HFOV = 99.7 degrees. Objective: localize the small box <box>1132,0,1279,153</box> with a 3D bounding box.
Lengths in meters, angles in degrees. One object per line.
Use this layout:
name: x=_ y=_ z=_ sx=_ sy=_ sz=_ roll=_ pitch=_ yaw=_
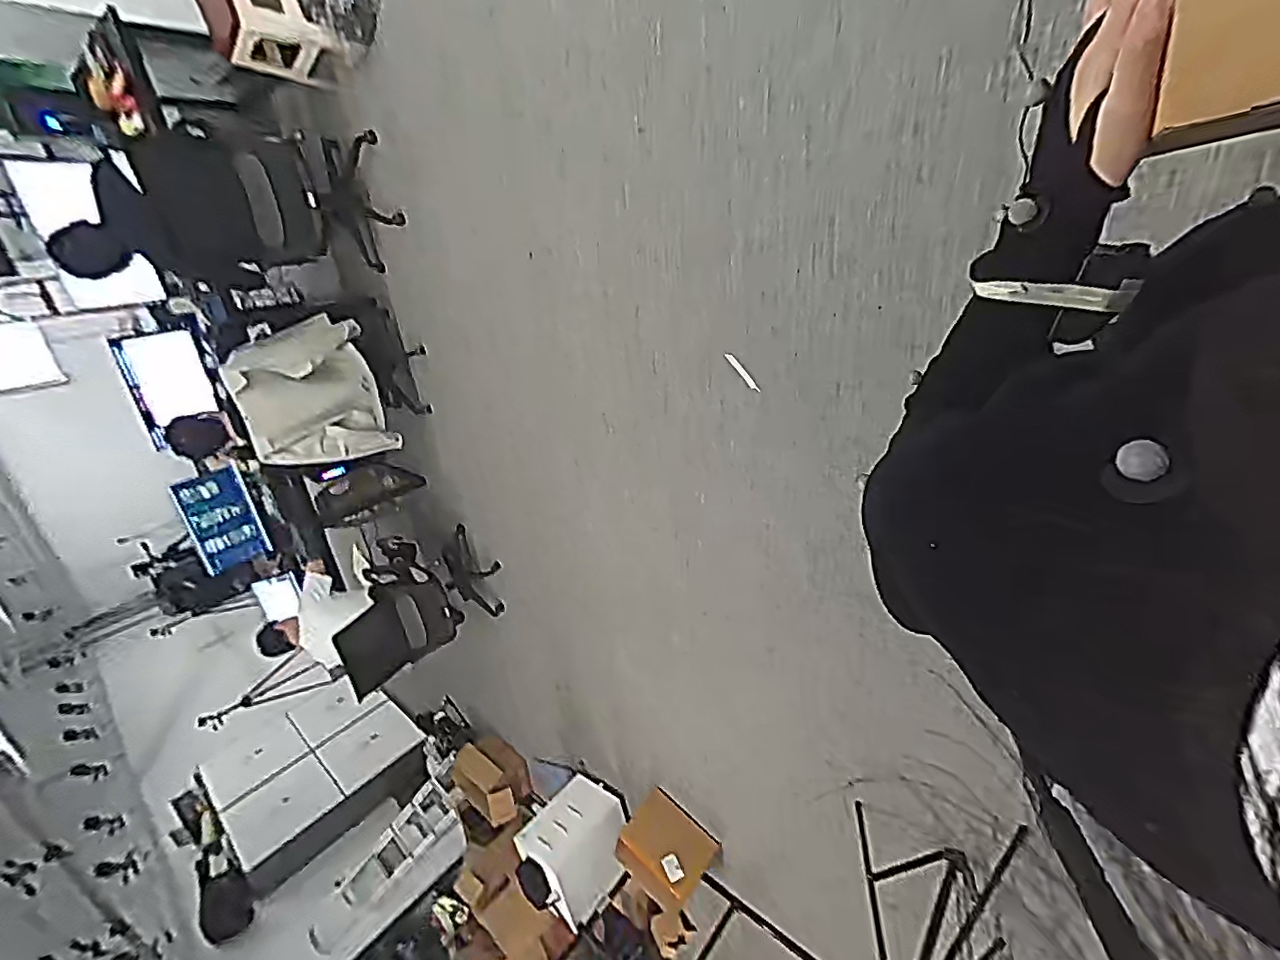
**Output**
small box: x=0.359 y=-0.284 z=0.260 sx=0.168 sy=0.176 sz=0.179 roll=4 pitch=113 yaw=37
